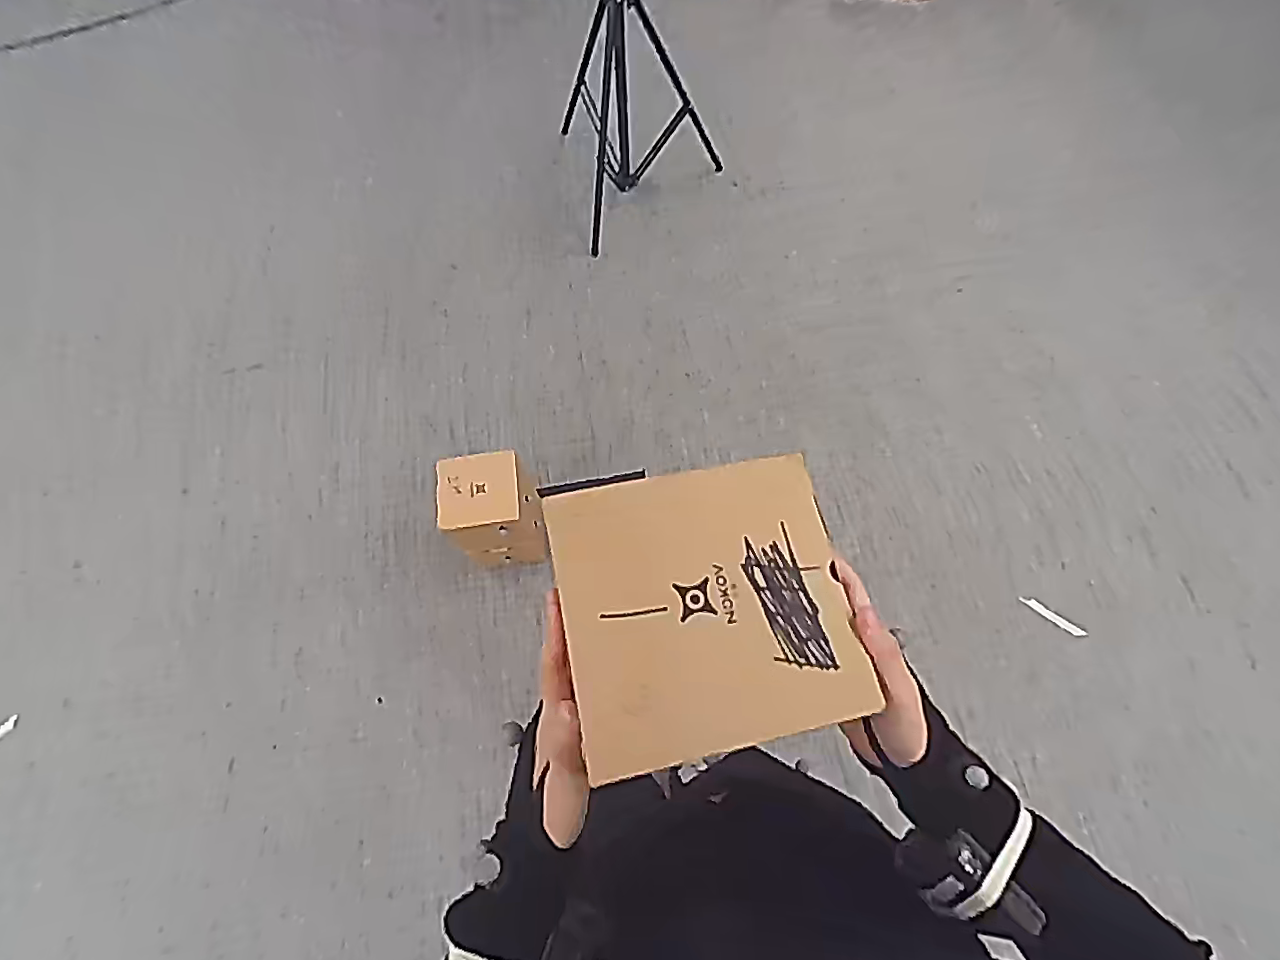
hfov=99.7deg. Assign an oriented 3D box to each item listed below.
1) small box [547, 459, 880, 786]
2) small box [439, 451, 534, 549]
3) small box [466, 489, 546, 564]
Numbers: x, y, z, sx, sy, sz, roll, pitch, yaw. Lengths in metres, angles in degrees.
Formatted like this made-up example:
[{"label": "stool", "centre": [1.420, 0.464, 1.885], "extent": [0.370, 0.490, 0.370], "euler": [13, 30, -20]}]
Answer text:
[{"label": "small box", "centre": [0.033, 0.101, 0.399], "extent": [0.179, 0.176, 0.168], "euler": [-10, 70, -9]}, {"label": "small box", "centre": [-0.343, 0.050, 1.233], "extent": [0.179, 0.176, 0.168], "euler": [-8, 67, -2]}, {"label": "small box", "centre": [-0.341, 0.114, 1.387], "extent": [0.168, 0.176, 0.179], "euler": [-8, 69, -2]}]
